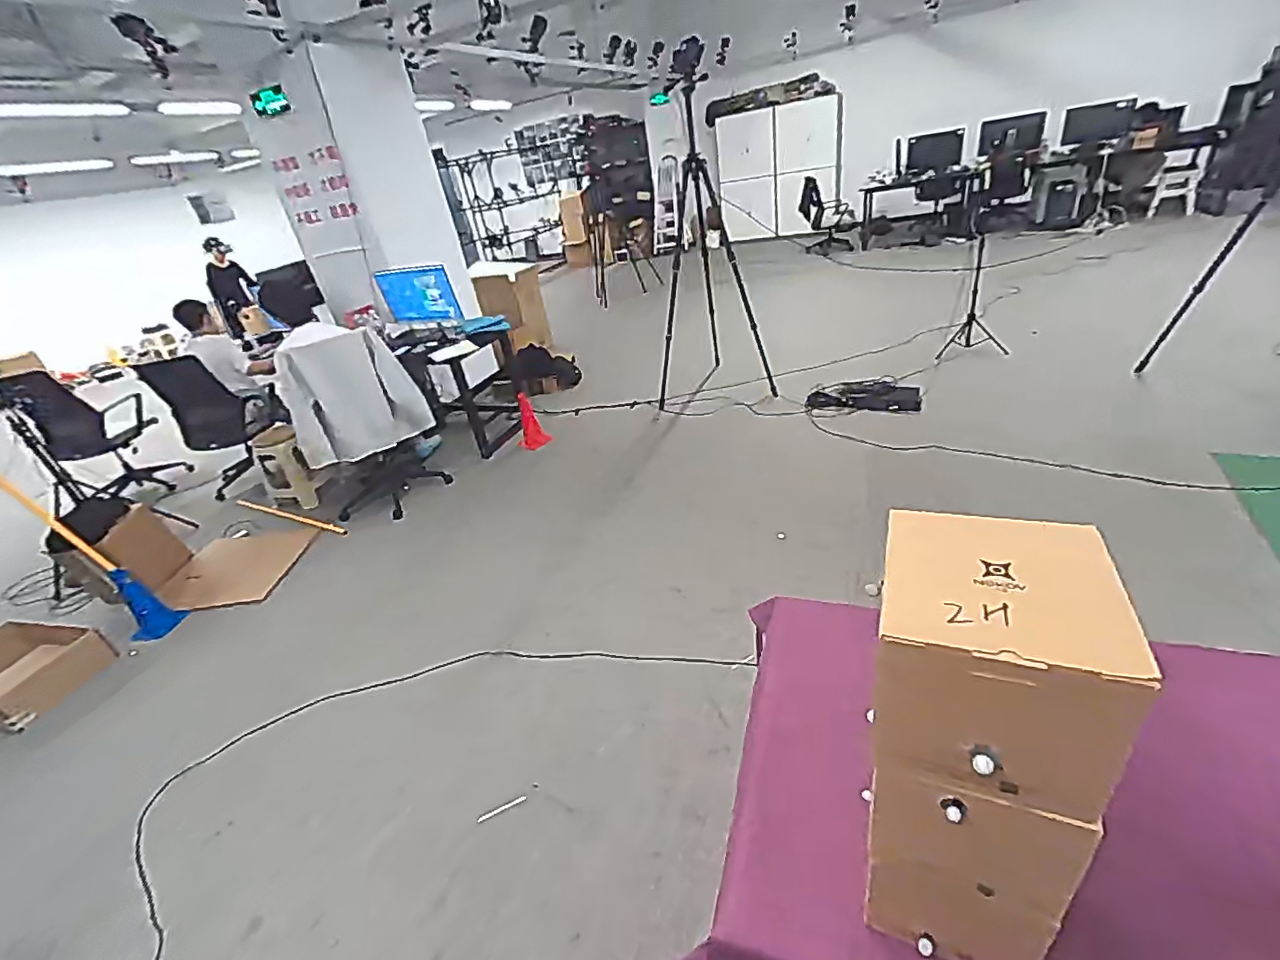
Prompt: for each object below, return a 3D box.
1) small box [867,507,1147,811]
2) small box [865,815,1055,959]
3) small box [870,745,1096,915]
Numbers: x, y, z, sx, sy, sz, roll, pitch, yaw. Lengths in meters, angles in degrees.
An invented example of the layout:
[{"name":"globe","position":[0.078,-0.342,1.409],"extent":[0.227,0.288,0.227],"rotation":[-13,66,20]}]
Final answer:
[{"name":"small box","position":[0.299,0.146,0.483],"extent":[0.168,0.176,0.179],"rotation":[3,34,25]},{"name":"small box","position":[0.365,0.428,0.642],"extent":[0.168,0.176,0.179],"rotation":[4,35,27]},{"name":"small box","position":[0.335,0.288,0.559],"extent":[0.168,0.176,0.179],"rotation":[3,32,27]}]
